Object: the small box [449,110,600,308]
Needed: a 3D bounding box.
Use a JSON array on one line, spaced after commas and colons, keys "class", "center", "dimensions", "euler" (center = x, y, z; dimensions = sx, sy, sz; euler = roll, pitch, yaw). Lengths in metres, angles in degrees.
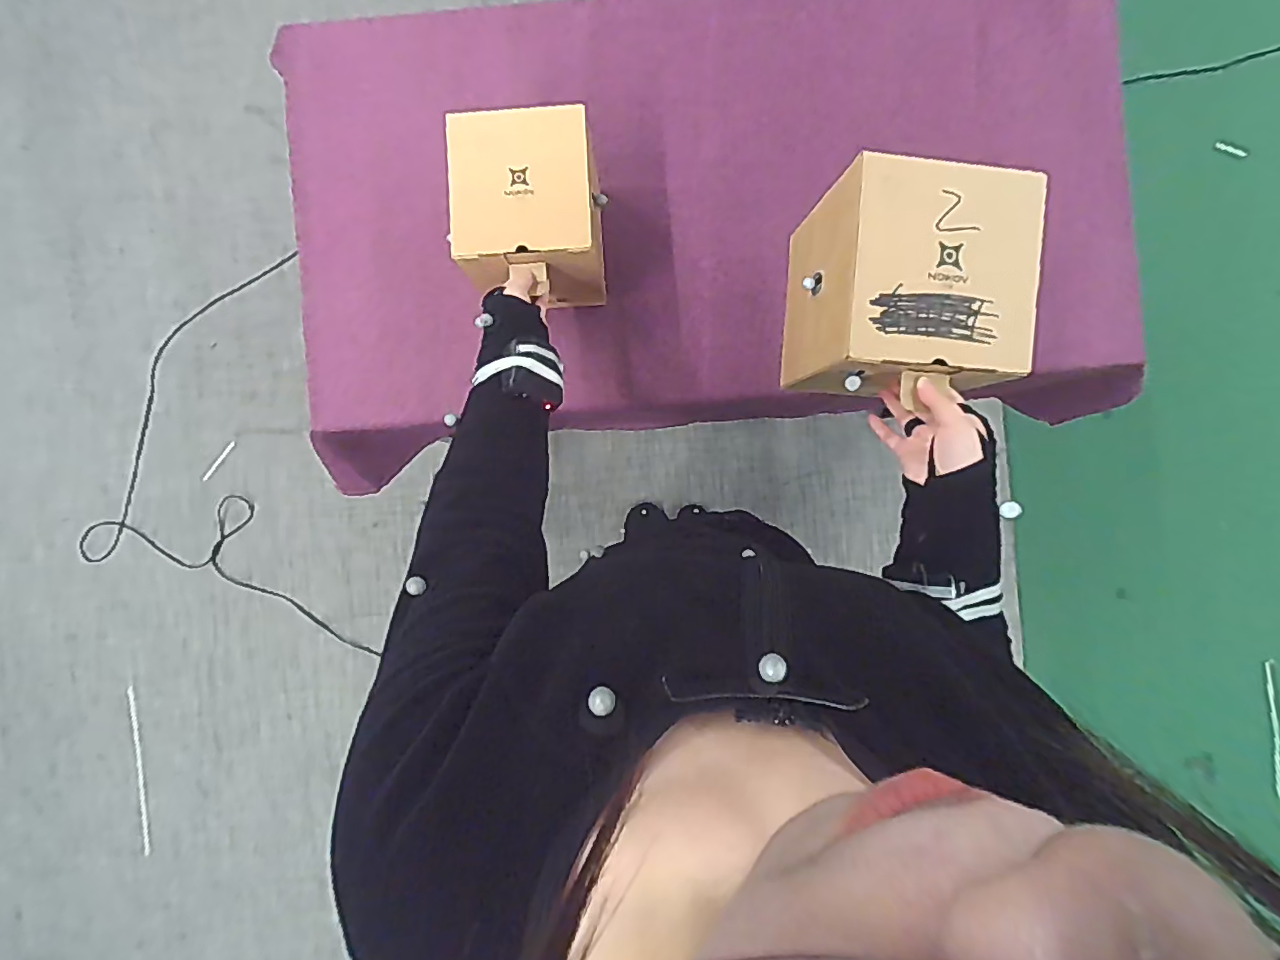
[{"class": "small box", "center": [-0.144, -0.347, 0.720], "dimensions": [0.168, 0.176, 0.179], "euler": [-3, 87, 1]}]
